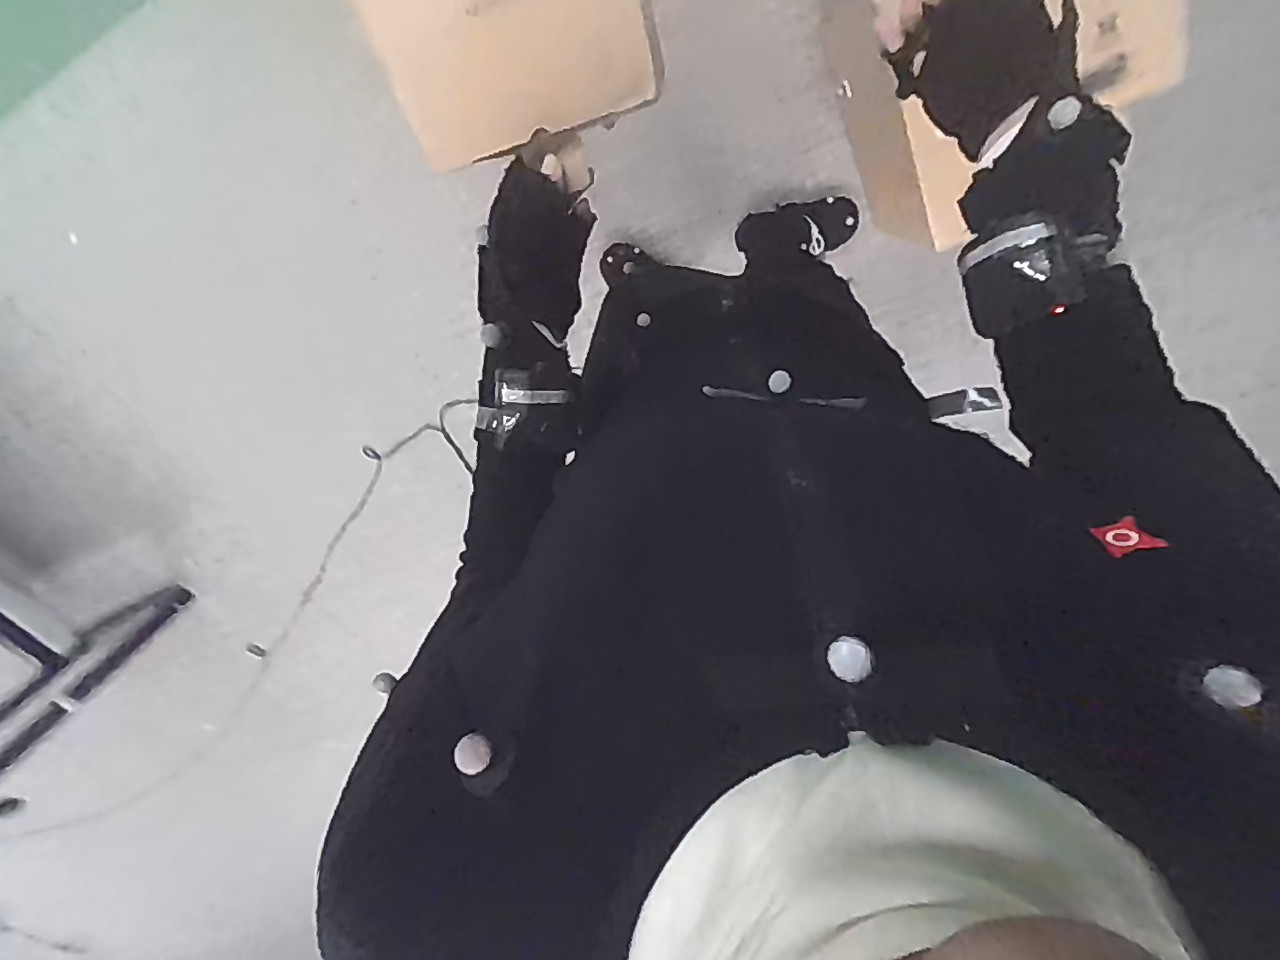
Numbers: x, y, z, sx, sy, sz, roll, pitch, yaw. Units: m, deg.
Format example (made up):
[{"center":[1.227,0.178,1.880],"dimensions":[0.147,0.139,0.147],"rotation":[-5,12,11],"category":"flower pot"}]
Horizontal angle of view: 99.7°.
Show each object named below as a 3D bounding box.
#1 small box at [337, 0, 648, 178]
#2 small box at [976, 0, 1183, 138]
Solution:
[{"center":[-0.094,-0.344,0.370],"dimensions":[0.168,0.176,0.179],"rotation":[-13,130,13],"category":"small box"},{"center":[0.581,-0.593,0.735],"dimensions":[0.168,0.176,0.179],"rotation":[-14,119,15],"category":"small box"}]
